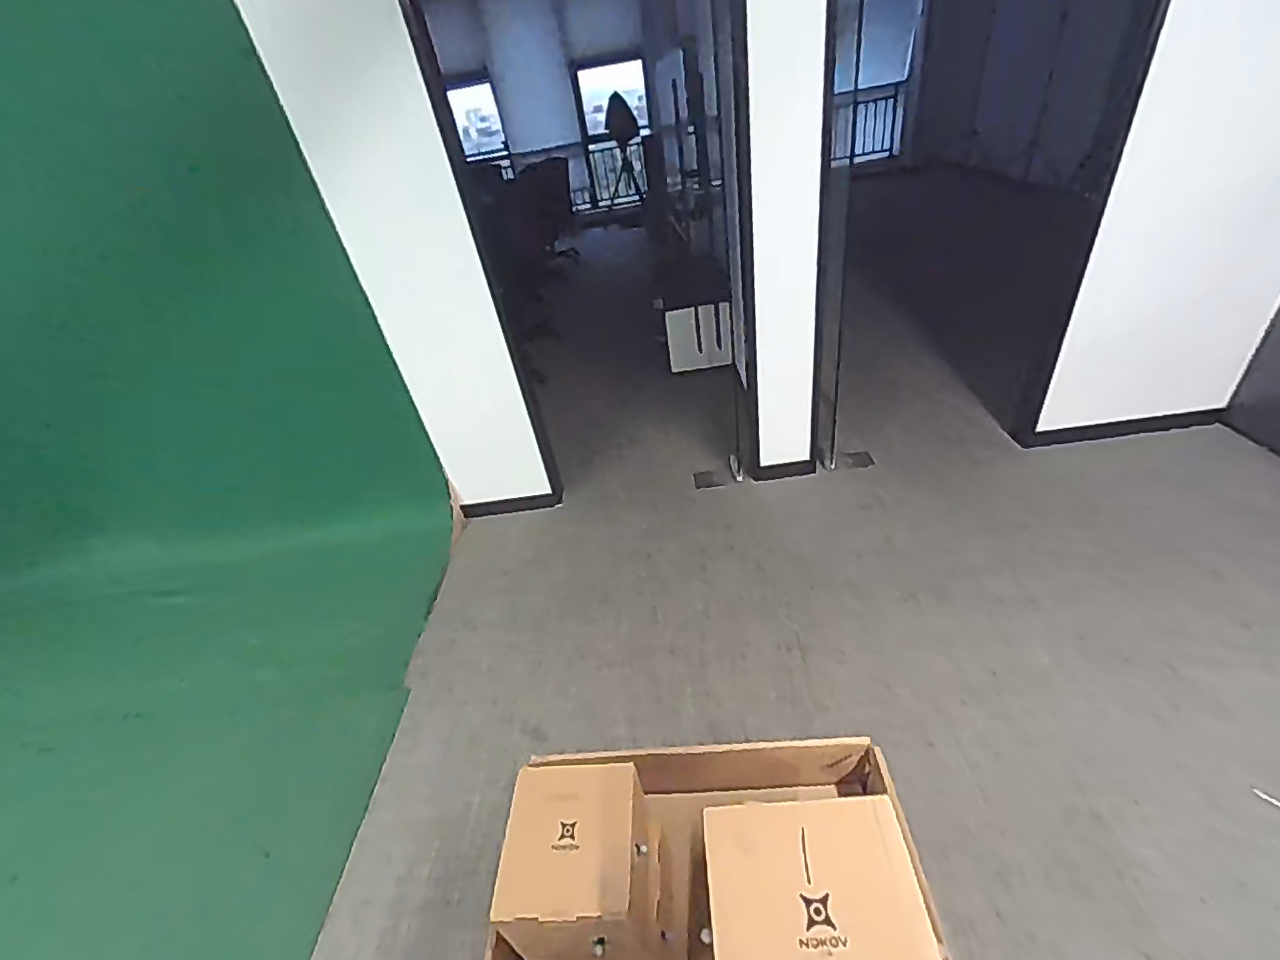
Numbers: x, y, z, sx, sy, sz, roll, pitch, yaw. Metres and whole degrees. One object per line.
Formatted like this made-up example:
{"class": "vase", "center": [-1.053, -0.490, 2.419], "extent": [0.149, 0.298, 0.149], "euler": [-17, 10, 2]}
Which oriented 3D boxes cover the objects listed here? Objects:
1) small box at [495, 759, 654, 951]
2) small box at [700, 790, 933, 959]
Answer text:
{"class": "small box", "center": [-0.074, 0.510, 0.734], "extent": [0.168, 0.176, 0.179], "euler": [-6, 35, 7]}
{"class": "small box", "center": [0.149, 0.398, 0.469], "extent": [0.168, 0.176, 0.179], "euler": [-8, 40, 7]}
